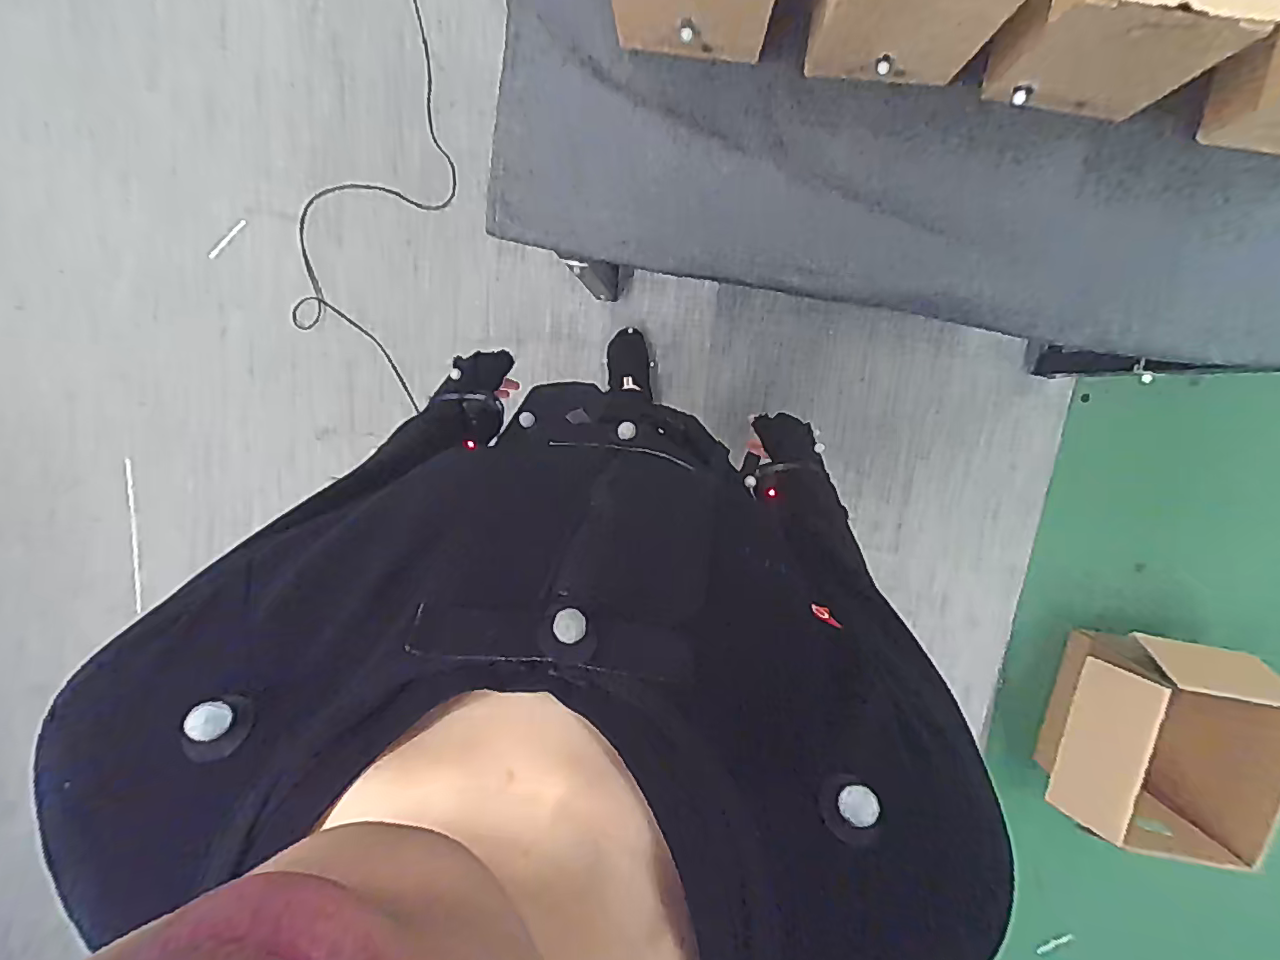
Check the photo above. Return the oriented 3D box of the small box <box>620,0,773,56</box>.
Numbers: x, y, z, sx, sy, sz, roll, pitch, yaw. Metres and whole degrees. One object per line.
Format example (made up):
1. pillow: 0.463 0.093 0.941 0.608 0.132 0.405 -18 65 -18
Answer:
1. small box: 0.065 -0.572 0.532 0.168 0.176 0.179 8 101 2

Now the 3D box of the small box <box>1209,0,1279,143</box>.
1. small box: 0.725 -0.444 0.520 0.168 0.176 0.179 9 100 2
